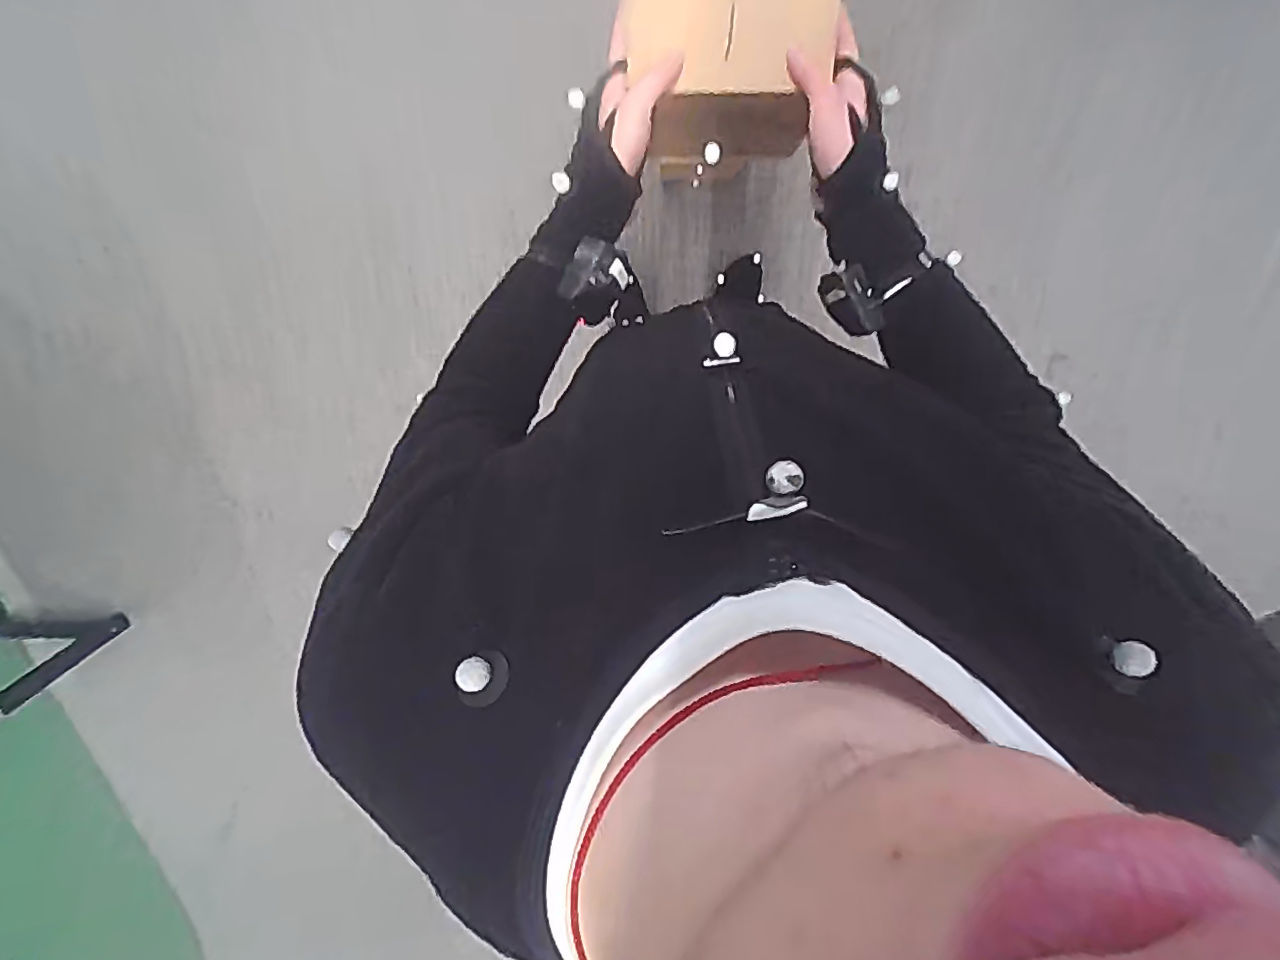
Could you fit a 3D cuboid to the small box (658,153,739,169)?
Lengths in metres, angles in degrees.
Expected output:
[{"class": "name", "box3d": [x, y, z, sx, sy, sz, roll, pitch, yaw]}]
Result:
[{"class": "small box", "box3d": [0.129, -0.798, 1.204, 0.179, 0.176, 0.168, 1, 114, 2]}]

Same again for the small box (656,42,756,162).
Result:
[{"class": "small box", "box3d": [0.121, -0.728, 1.057, 0.179, 0.176, 0.168, 0, 114, 2]}]
